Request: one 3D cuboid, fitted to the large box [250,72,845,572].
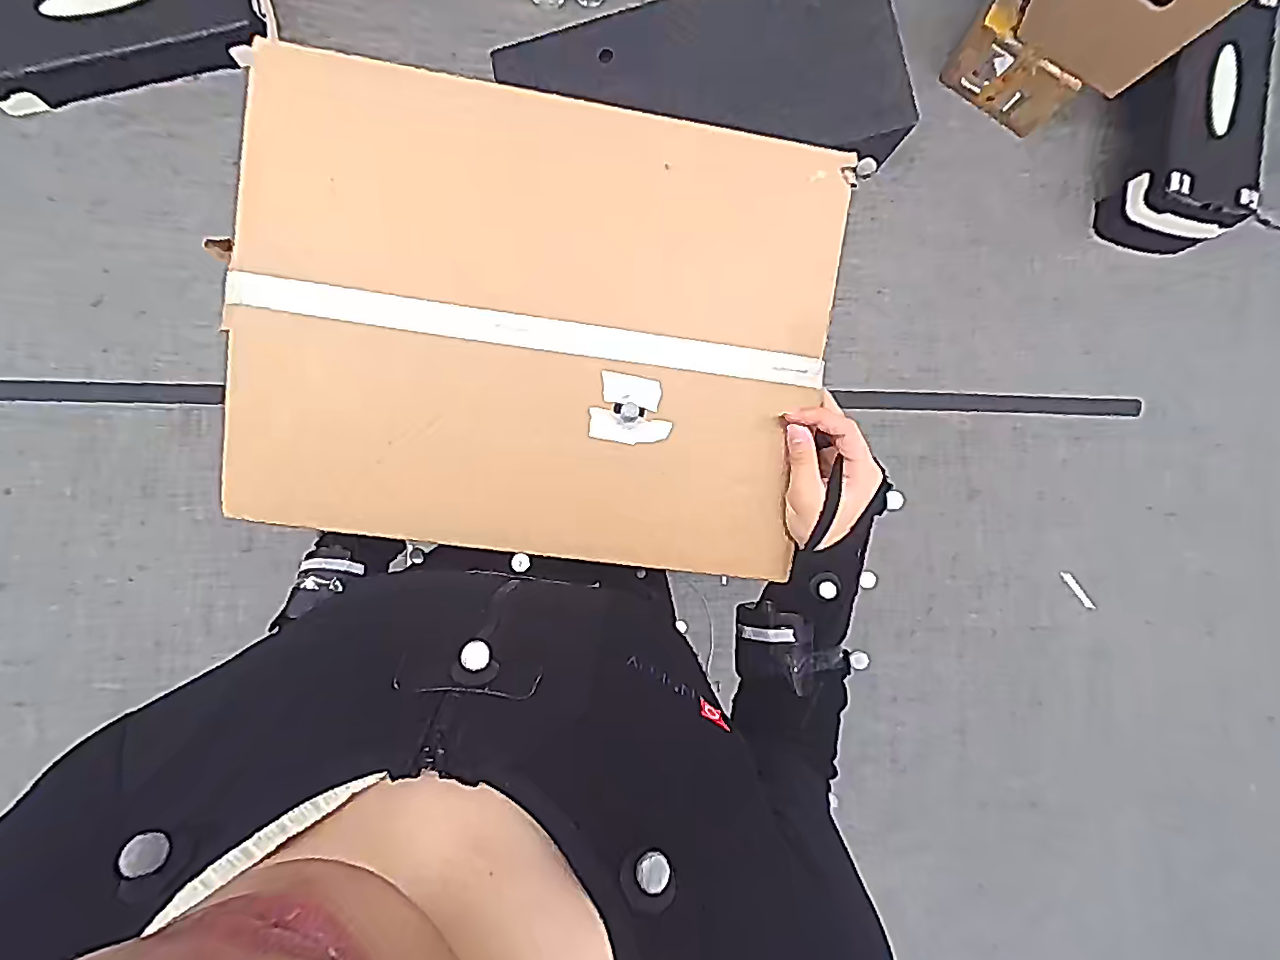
[{"bbox_3d":[-0.077,-0.112,0.535,0.408,0.320,0.320,7,95,-7],"label":"large box"}]
